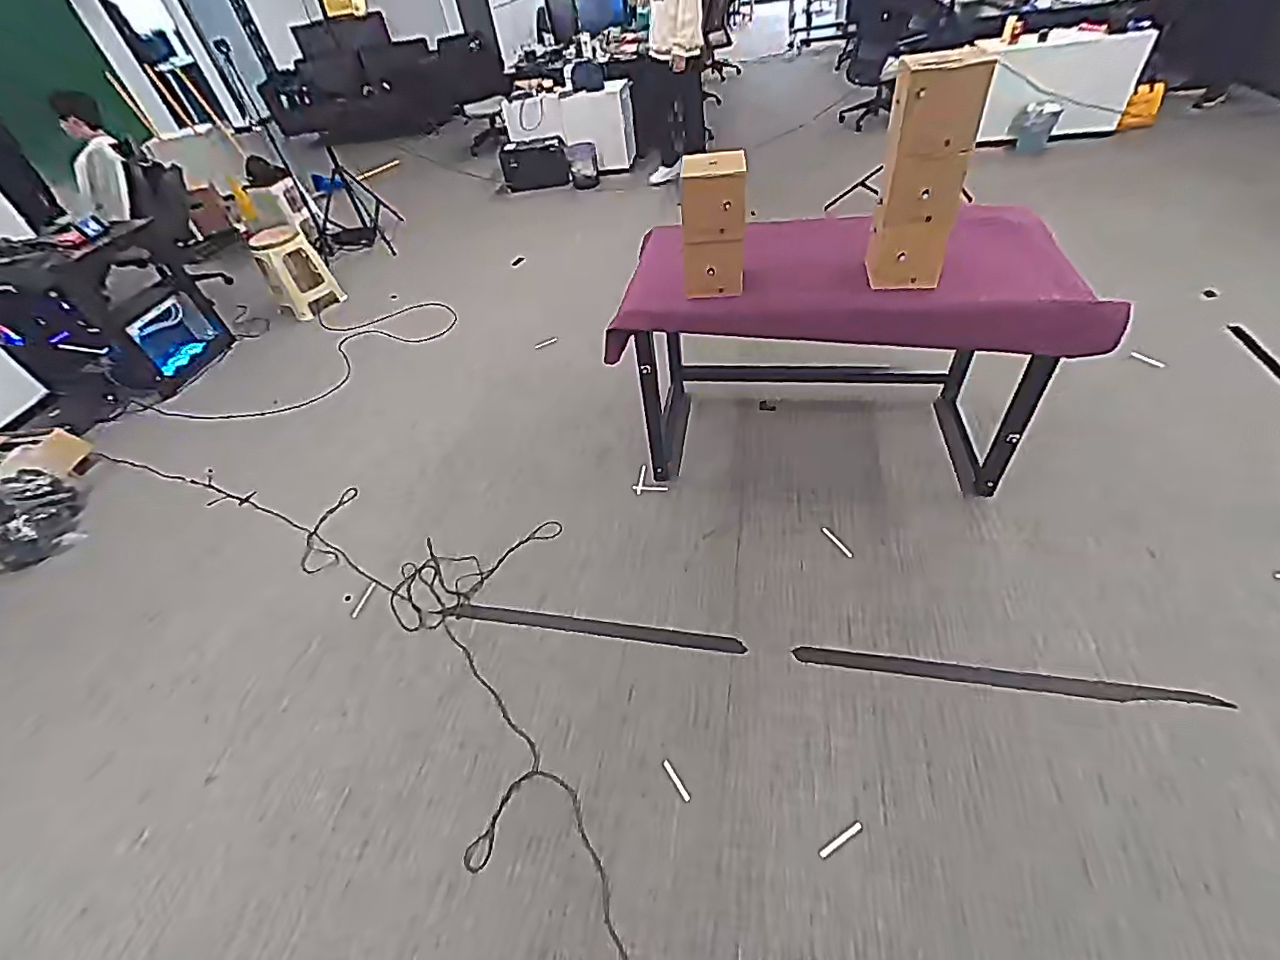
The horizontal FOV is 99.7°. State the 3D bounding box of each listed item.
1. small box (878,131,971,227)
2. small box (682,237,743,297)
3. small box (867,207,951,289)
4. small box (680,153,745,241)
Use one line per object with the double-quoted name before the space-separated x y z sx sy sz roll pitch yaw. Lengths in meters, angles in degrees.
"small box" 0.707 -0.752 1.364 0.168 0.176 0.179 3 47 13
"small box" 0.214 -0.644 1.568 0.168 0.176 0.179 1 45 9
"small box" 0.726 -0.635 1.478 0.168 0.176 0.179 3 46 13
"small box" 0.196 -0.752 1.447 0.168 0.176 0.179 -1 45 7
